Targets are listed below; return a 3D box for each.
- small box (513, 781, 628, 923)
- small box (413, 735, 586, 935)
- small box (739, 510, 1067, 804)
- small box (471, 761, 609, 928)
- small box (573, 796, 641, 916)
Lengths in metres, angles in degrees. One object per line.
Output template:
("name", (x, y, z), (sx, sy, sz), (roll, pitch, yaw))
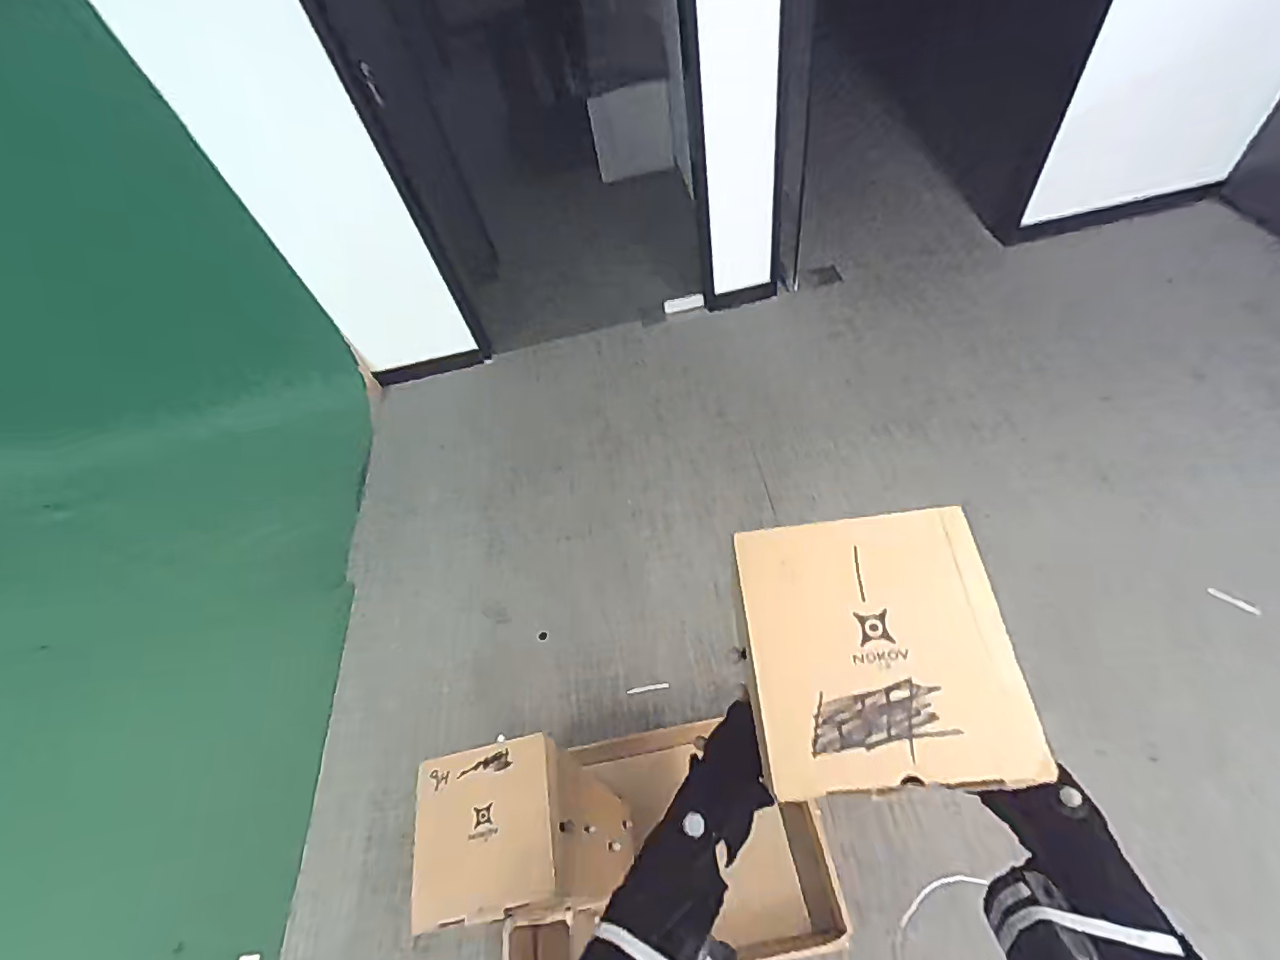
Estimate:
("small box", (-0.122, 0.656, 0.953), (0.168, 0.176, 0.179), (-12, 53, 1))
("small box", (-0.173, 0.454, 0.700), (0.168, 0.176, 0.179), (-13, 53, -1))
("small box", (0.168, 0.136, 0.416), (0.168, 0.176, 0.179), (-4, 66, 6))
("small box", (-0.149, 0.554, 0.828), (0.168, 0.176, 0.179), (-13, 52, 0))
("small box", (-0.098, 0.754, 1.081), (0.168, 0.176, 0.179), (-11, 52, 2))
